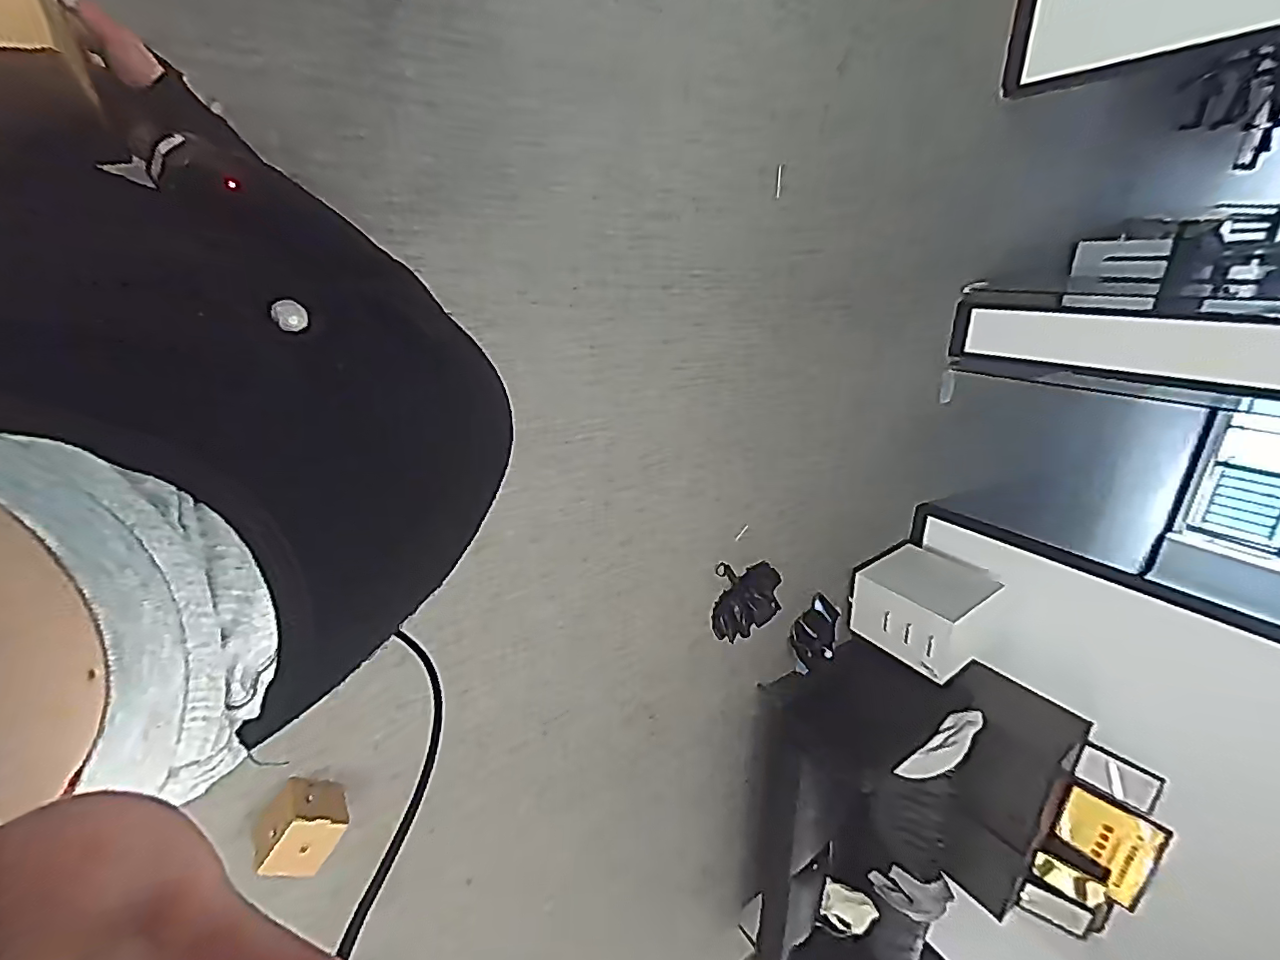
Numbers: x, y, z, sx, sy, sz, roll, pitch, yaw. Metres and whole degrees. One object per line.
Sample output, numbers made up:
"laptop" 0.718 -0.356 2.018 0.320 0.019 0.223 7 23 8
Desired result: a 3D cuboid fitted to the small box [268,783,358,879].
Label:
"small box" -0.976 1.037 1.604 0.168 0.176 0.179 37 85 -39
